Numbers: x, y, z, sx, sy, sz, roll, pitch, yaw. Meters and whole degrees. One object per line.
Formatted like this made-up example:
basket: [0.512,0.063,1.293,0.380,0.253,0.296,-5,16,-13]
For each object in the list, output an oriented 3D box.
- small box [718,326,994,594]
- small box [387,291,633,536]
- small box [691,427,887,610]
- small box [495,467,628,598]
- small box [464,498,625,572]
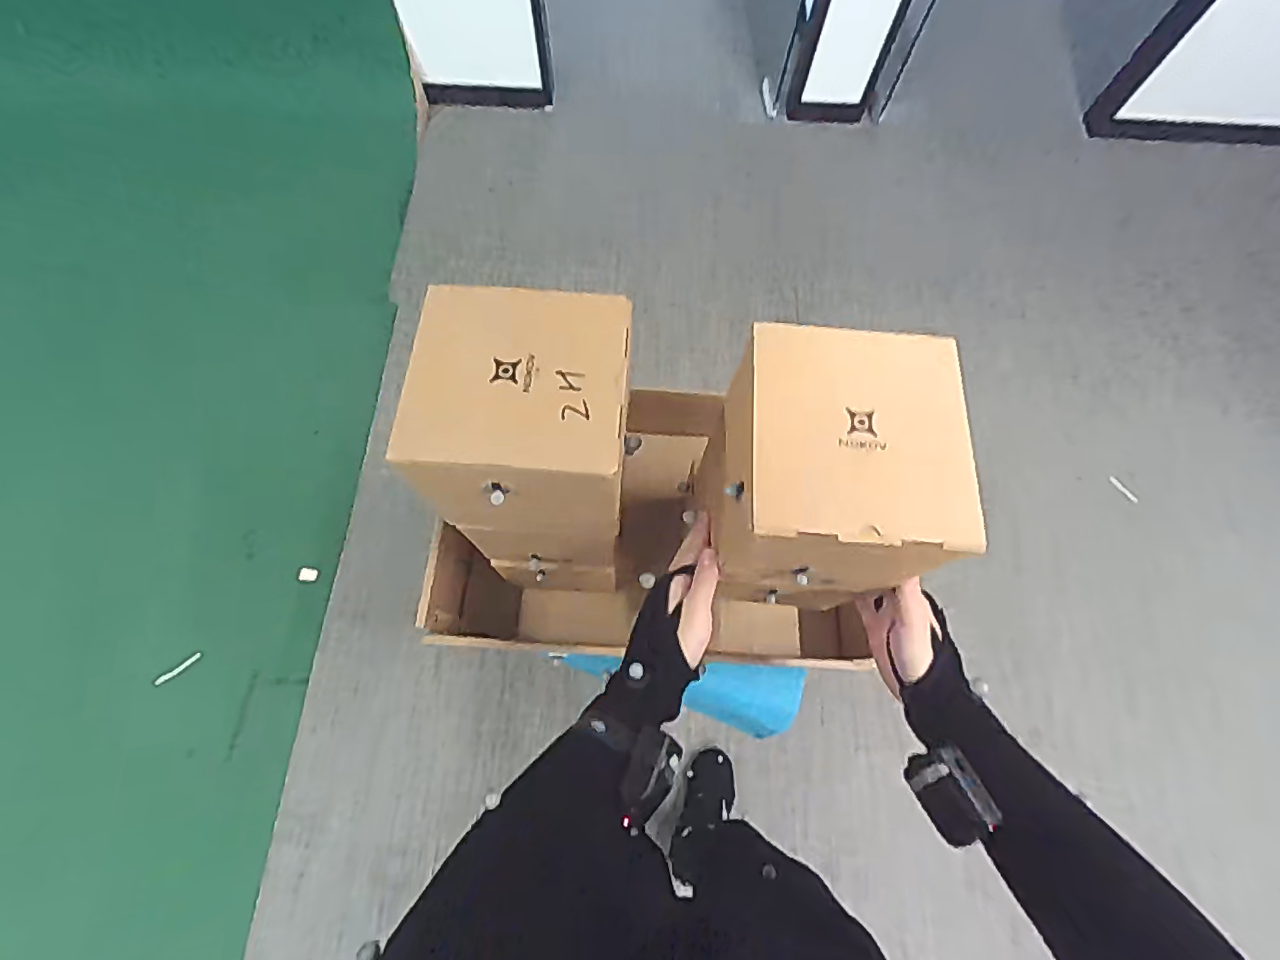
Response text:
small box: [0.165,-0.006,0.474,0.168,0.176,0.179,5,70,-1]
small box: [-0.099,-0.051,0.506,0.179,0.176,0.168,4,68,0]
small box: [0.160,0.053,0.625,0.179,0.176,0.168,5,69,1]
small box: [-0.106,0.070,0.810,0.168,0.176,0.179,4,68,0]
small box: [-0.103,0.005,0.661,0.168,0.176,0.179,3,69,-1]
